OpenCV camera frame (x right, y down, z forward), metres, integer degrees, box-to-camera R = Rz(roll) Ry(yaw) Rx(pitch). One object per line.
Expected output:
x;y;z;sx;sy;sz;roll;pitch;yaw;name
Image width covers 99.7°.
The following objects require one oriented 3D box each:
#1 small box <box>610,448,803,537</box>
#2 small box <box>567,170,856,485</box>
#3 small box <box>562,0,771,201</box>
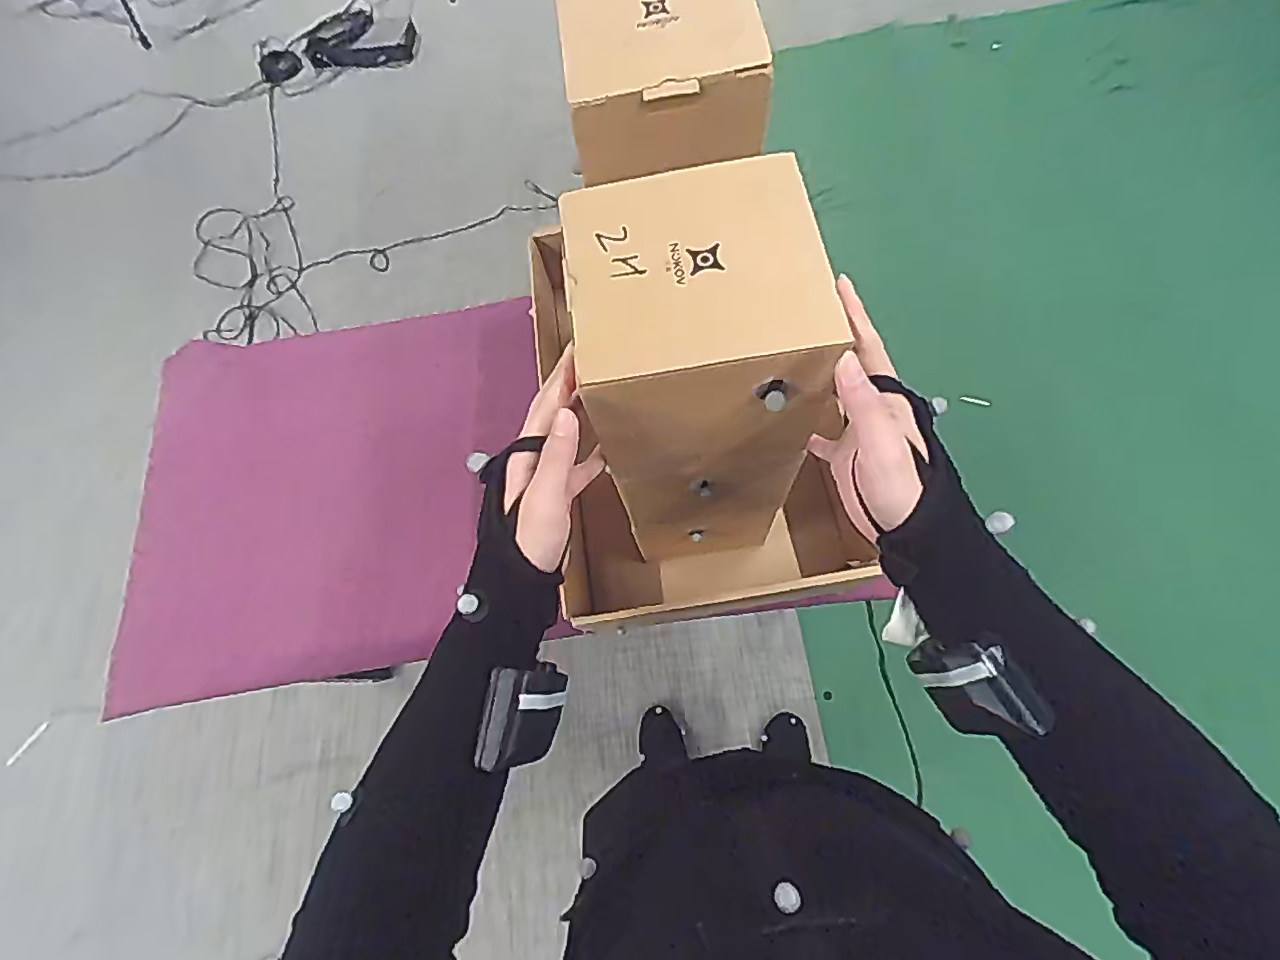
0.062;-0.044;0.589;0.179;0.176;0.168;-7;68;3;small box
0.047;-0.108;0.438;0.179;0.176;0.168;-8;68;3;small box
0.024;-0.347;0.533;0.168;0.176;0.179;-8;70;2;small box
